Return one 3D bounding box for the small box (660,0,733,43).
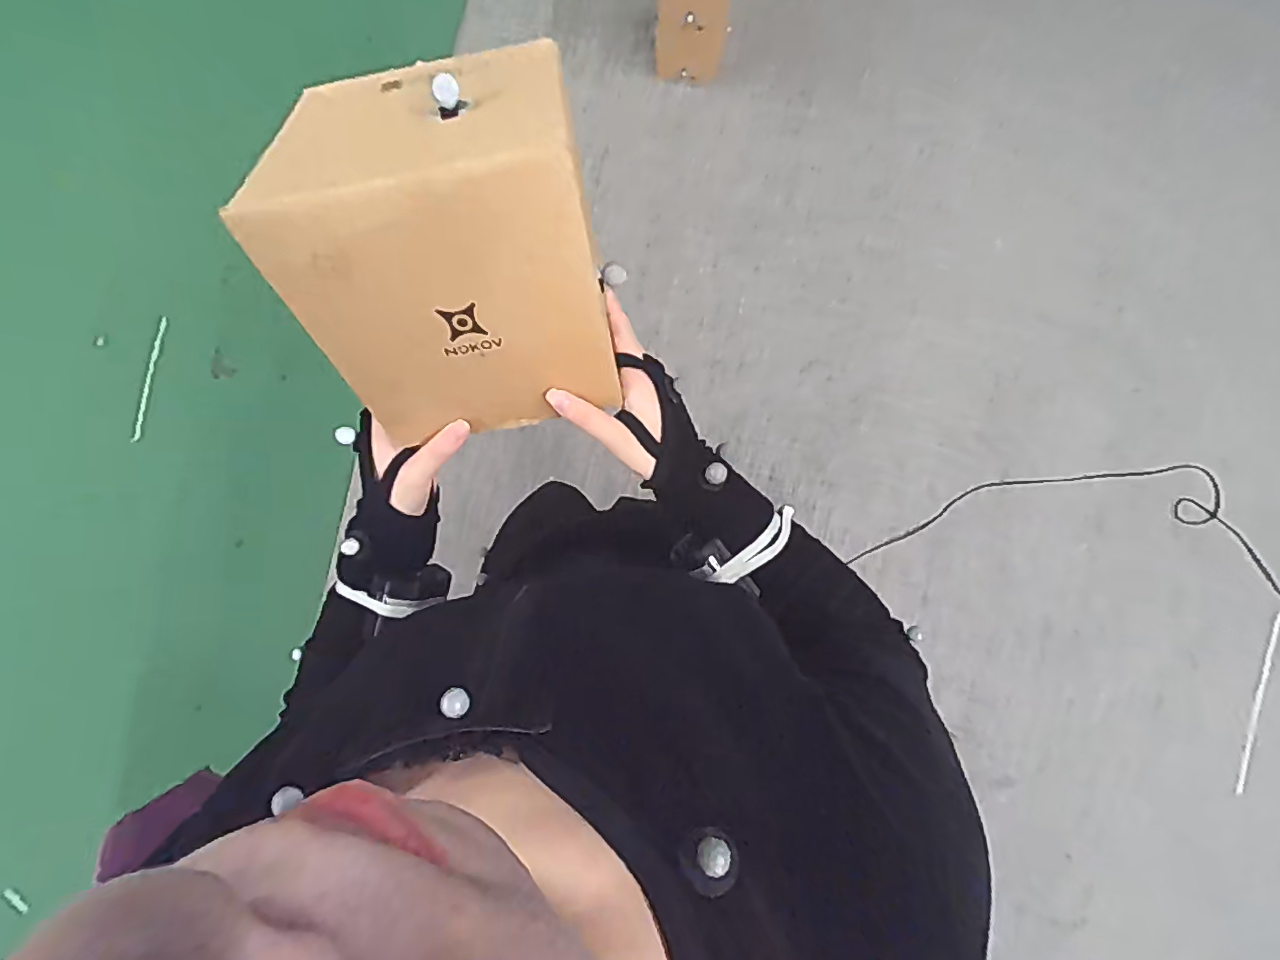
[{"bbox_3d":[0.139,-1.177,1.255,0.168,0.176,0.179,10,91,4],"label":"small box"}]

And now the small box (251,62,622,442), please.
[{"bbox_3d":[-0.113,-0.156,0.374,0.168,0.179,0.176,-10,54,1],"label":"small box"}]
